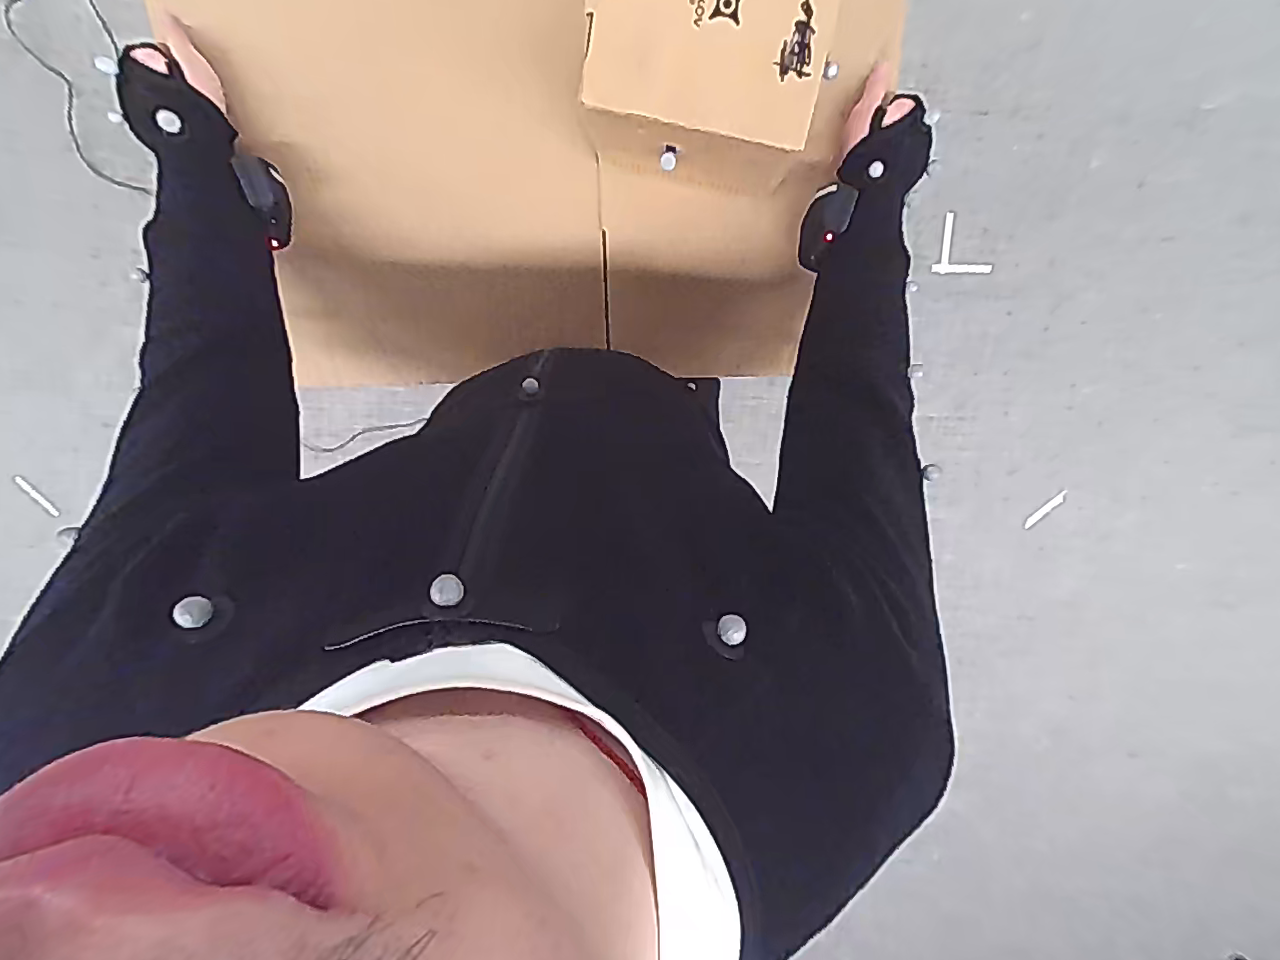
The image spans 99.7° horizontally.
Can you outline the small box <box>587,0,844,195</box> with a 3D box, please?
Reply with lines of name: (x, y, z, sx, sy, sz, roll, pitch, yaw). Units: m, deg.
small box: (0.065, -0.368, 0.471, 0.179, 0.176, 0.168, 12, 106, 1)
